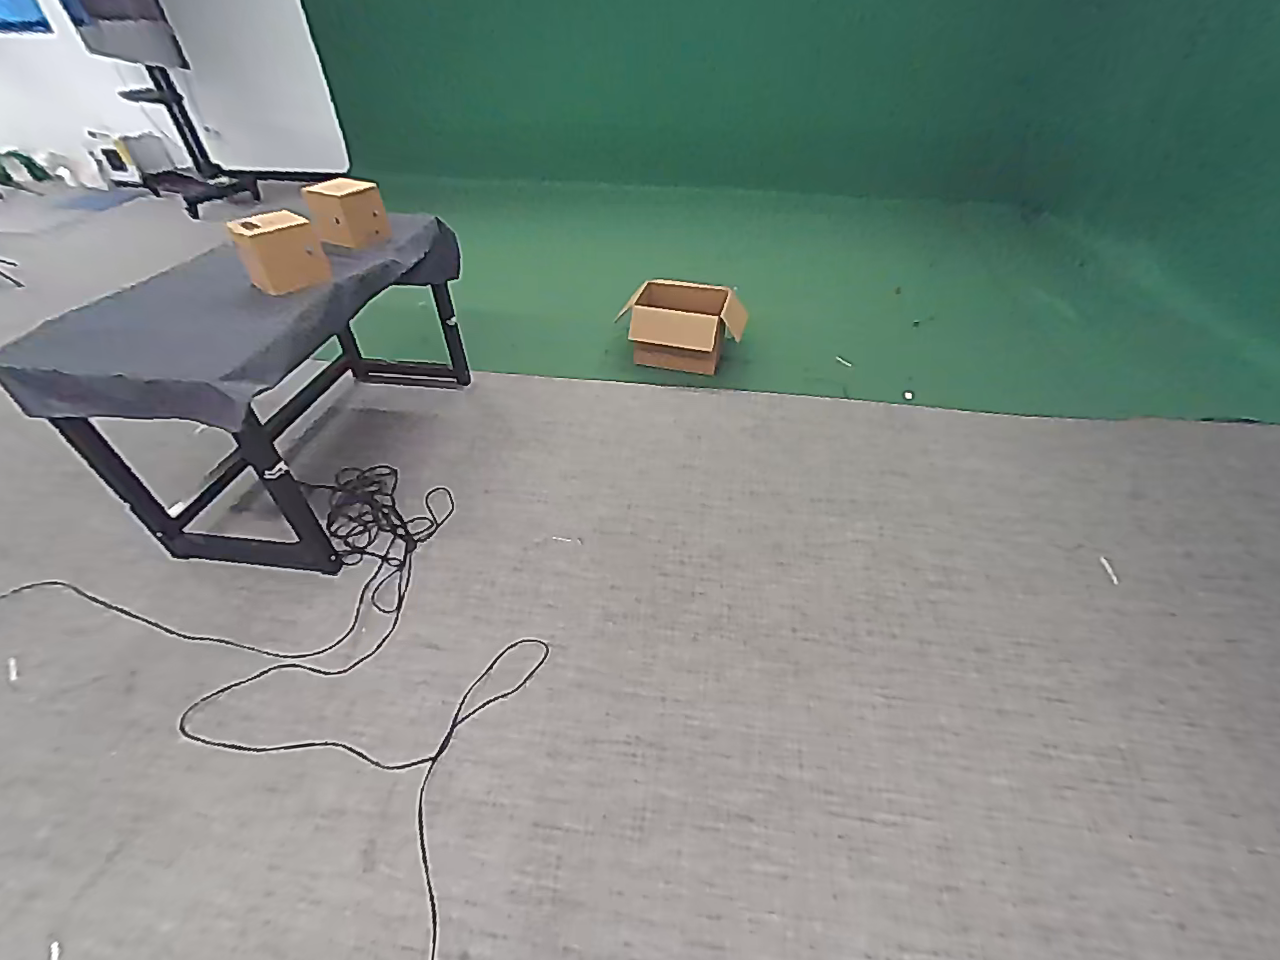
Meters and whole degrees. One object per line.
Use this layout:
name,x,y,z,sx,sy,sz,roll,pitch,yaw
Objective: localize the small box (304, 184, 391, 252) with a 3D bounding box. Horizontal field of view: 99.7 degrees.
small box,-0.997,-0.901,1.862,0.179,0.176,0.168,17,44,20
